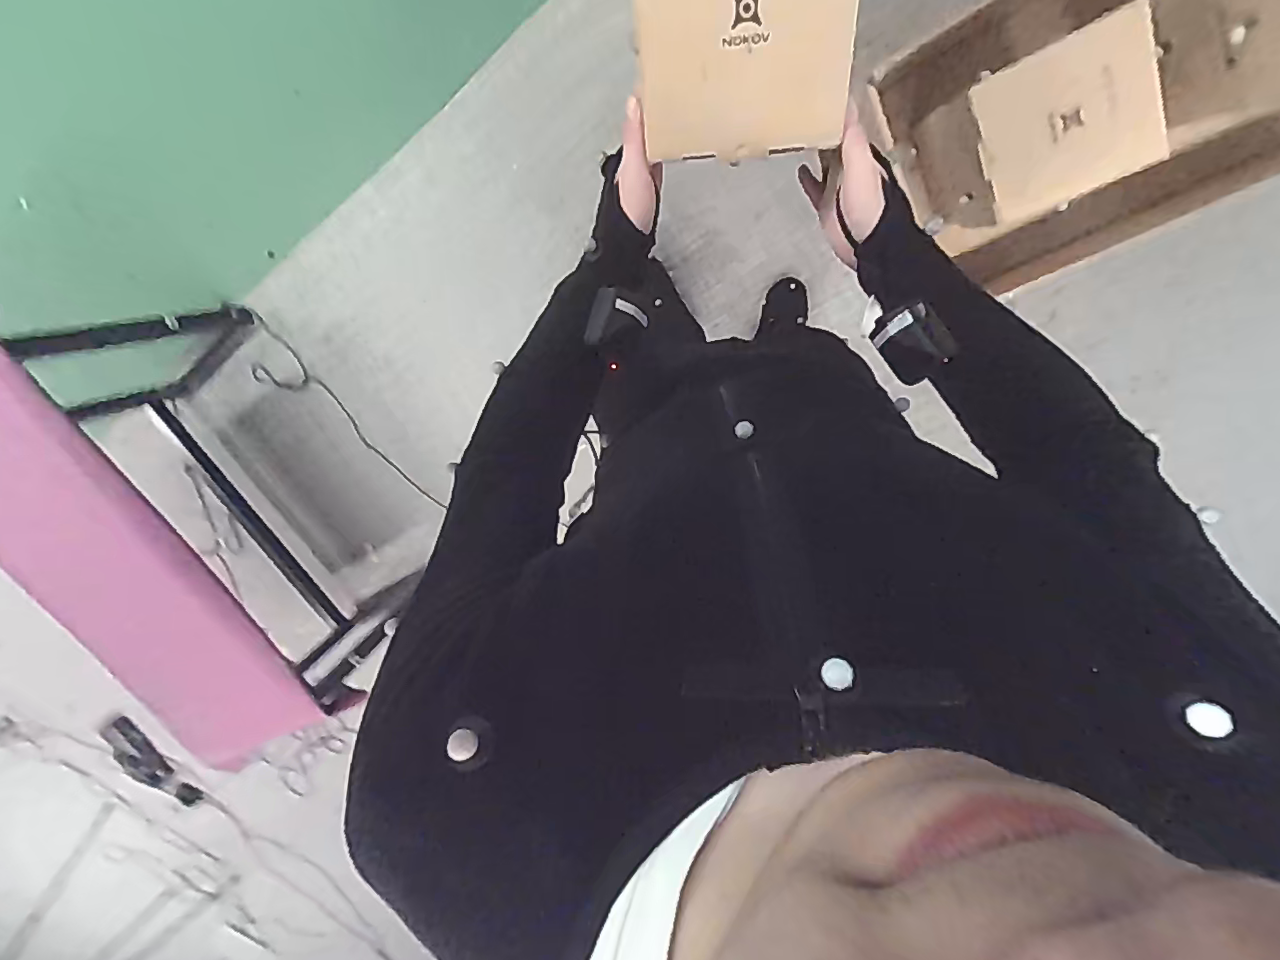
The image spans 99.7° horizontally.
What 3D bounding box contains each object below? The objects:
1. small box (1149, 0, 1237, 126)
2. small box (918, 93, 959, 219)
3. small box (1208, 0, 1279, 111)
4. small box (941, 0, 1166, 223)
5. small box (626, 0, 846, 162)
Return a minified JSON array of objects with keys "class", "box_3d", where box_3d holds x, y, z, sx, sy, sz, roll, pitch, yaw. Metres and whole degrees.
[{"class":"small box","box_3d":[0.716,-0.535,0.606,0.179,0.176,0.168,-20,108,25]},{"class":"small box","box_3d":[0.548,-0.522,0.833,0.179,0.176,0.168,-21,107,21]},{"class":"small box","box_3d":[0.661,-0.462,0.467,0.179,0.176,0.168,-22,106,25]},{"class":"small box","box_3d":[0.508,-0.447,0.693,0.179,0.176,0.168,-19,108,20]},{"class":"small box","box_3d":[0.079,-0.397,0.472,0.168,0.176,0.179,-2,128,7]}]
